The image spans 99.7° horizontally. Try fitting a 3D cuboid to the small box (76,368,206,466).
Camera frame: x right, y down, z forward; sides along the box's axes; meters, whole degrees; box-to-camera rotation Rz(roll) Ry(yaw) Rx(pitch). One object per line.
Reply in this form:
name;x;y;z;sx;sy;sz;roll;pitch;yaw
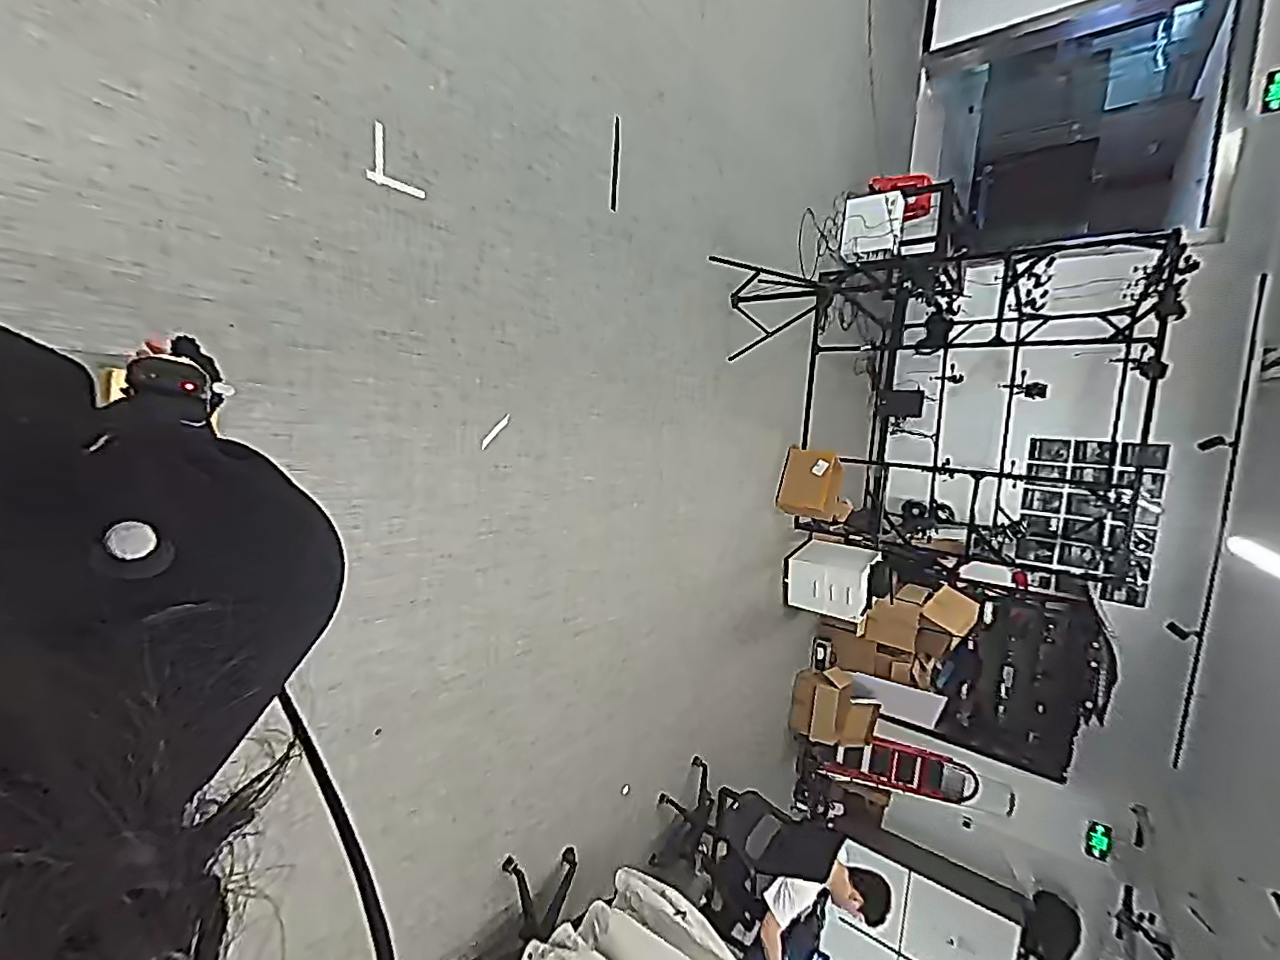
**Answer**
small box;-1.016;-0.126;1.100;0.168;0.176;0.179;2;95;-53
